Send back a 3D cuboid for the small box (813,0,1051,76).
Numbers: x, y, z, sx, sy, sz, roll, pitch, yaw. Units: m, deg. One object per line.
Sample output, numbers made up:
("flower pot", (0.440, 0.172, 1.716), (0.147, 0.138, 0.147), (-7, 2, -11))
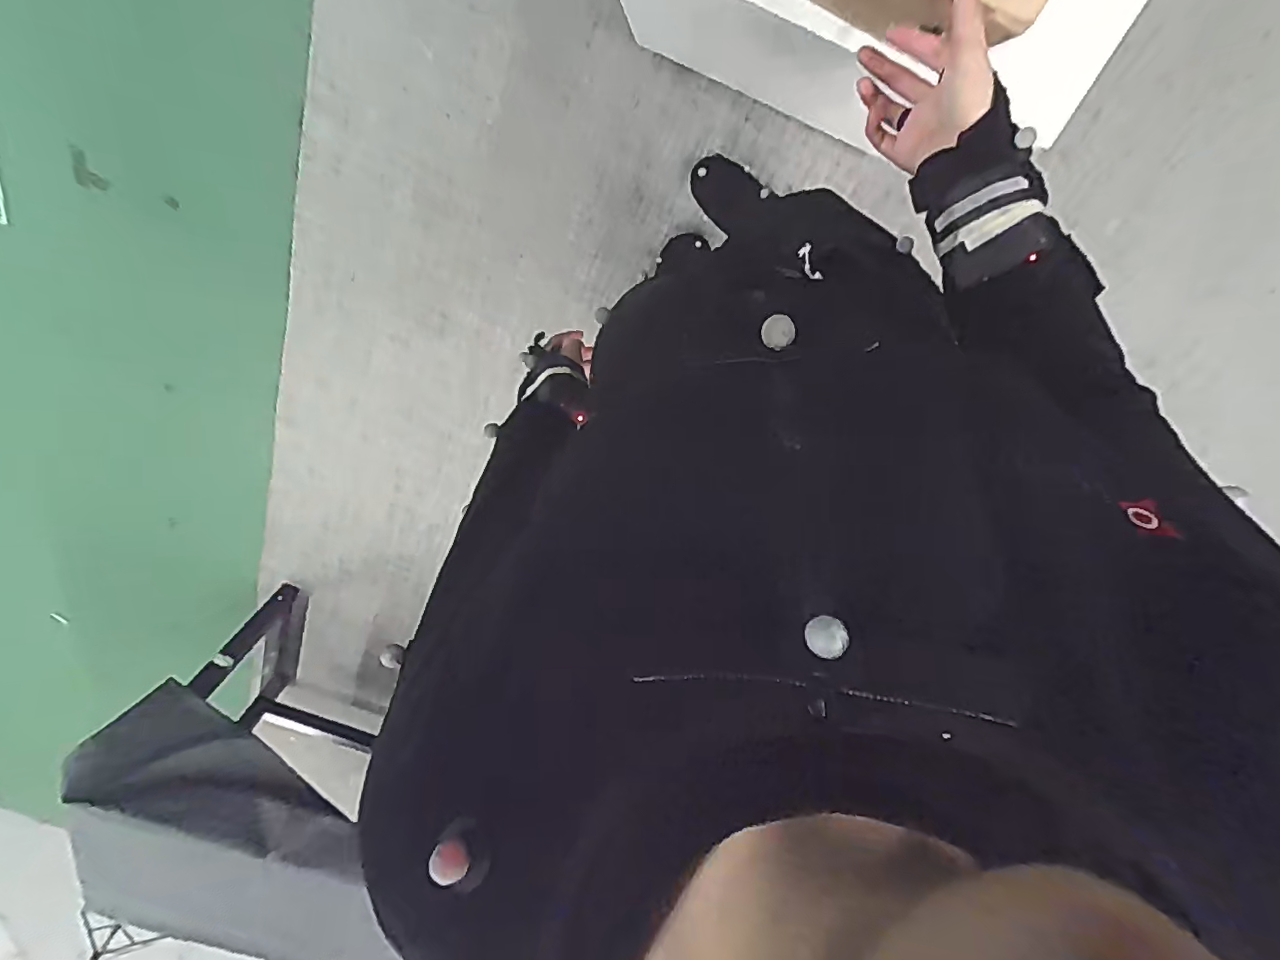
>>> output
("small box", (0.247, -0.454, 0.417), (0.168, 0.176, 0.179), (23, 118, -9))
